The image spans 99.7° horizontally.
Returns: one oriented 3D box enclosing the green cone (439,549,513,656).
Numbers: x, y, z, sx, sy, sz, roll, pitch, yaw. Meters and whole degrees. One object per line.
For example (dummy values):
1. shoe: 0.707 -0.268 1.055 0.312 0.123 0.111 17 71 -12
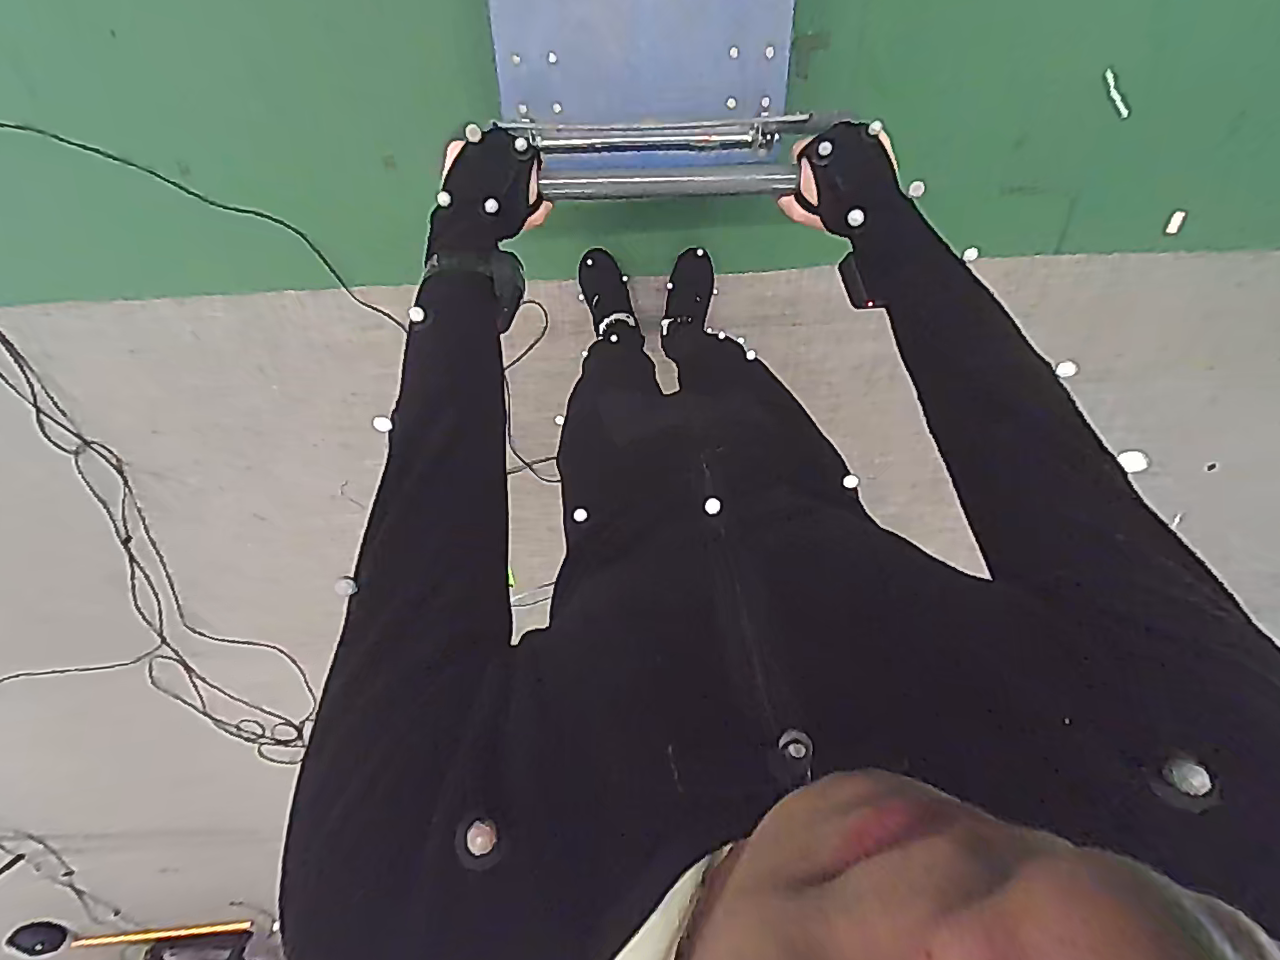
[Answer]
1. green cone: -0.559 0.408 1.729 0.202 0.368 0.200 -5 120 4
